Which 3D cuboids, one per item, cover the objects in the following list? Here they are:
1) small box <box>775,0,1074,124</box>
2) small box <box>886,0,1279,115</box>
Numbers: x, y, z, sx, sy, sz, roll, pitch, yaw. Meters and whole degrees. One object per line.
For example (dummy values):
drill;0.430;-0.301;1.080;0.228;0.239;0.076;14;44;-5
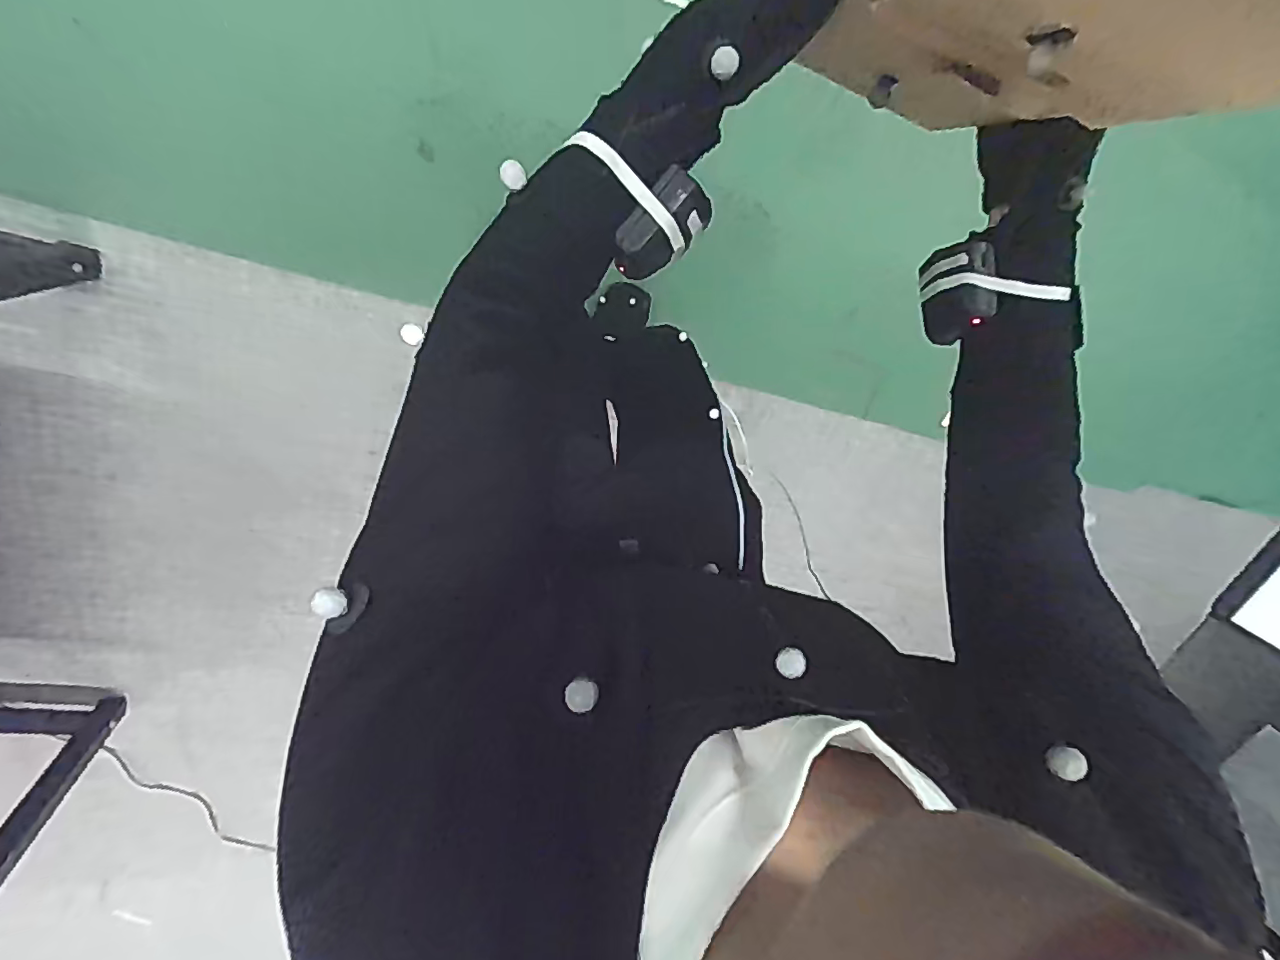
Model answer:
small box;0.208;-0.352;0.335;0.168;0.176;0.179;14;118;-16
small box;0.228;-0.264;0.198;0.168;0.176;0.179;11;118;-15
